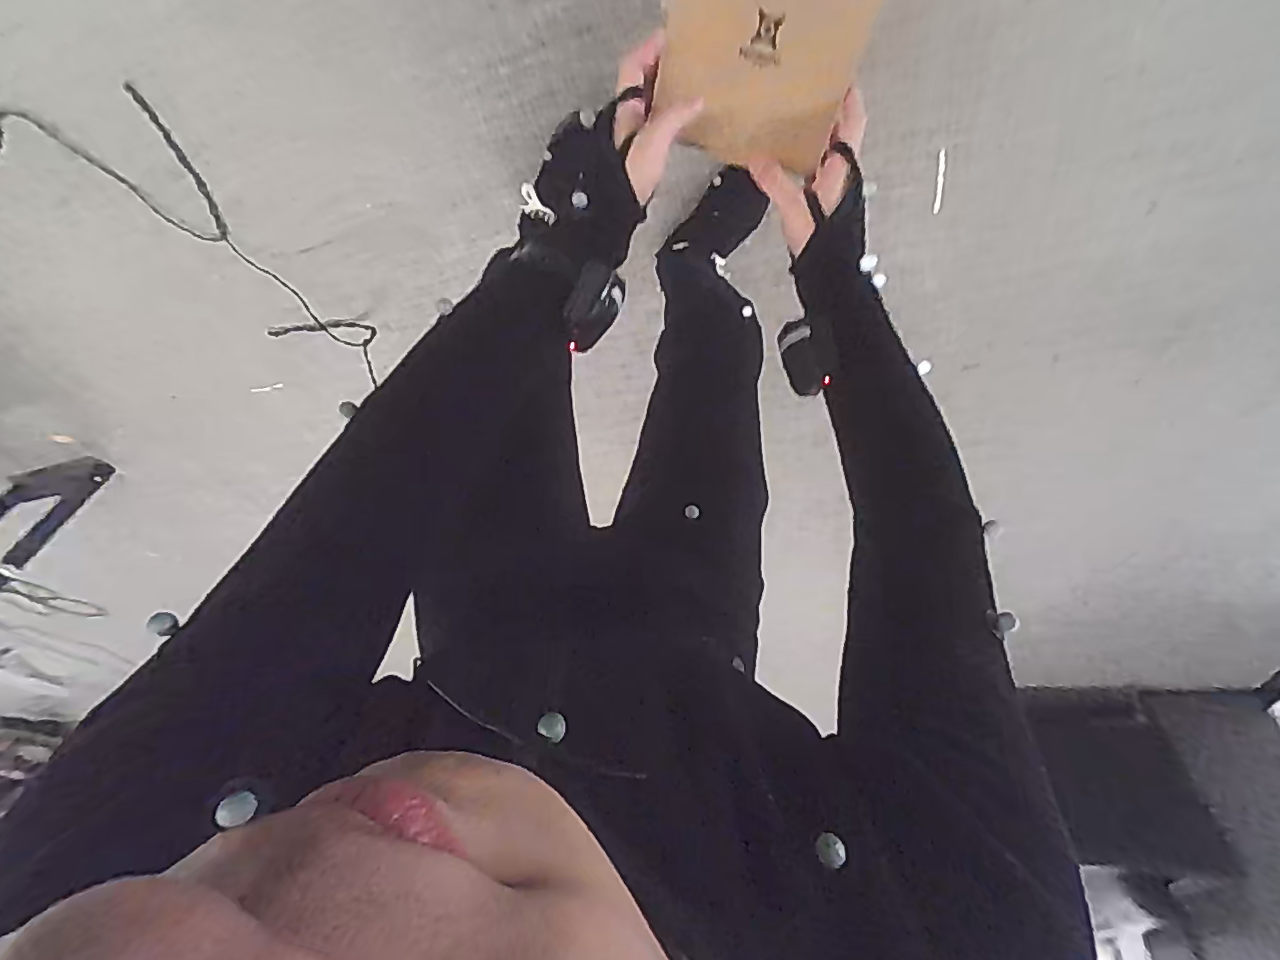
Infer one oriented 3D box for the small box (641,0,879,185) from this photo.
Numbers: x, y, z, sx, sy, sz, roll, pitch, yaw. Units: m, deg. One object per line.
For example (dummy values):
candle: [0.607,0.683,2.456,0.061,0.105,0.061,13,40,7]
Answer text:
small box: [0.105,-0.412,0.502,0.168,0.176,0.179,12,136,-4]
